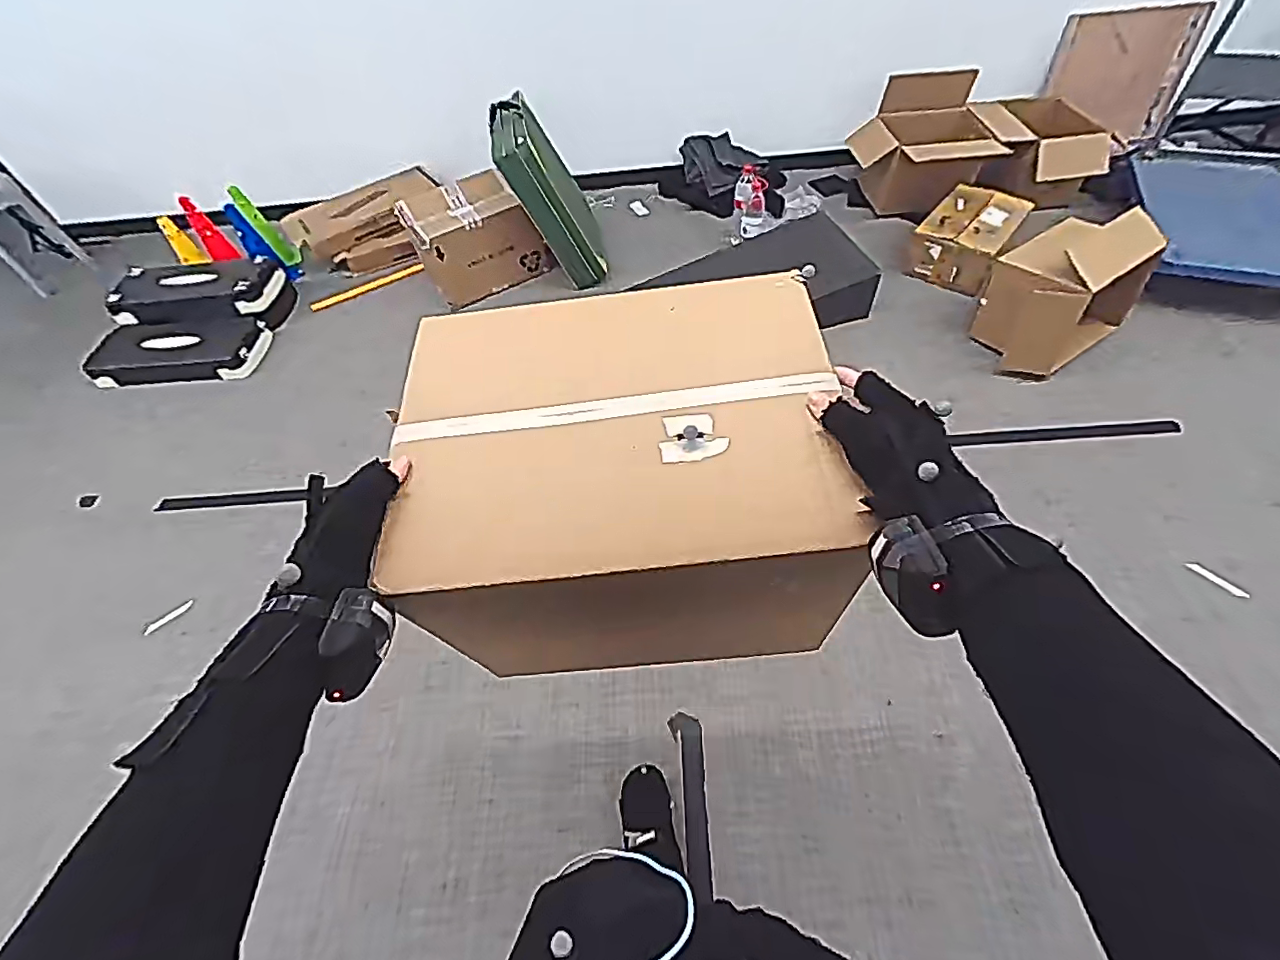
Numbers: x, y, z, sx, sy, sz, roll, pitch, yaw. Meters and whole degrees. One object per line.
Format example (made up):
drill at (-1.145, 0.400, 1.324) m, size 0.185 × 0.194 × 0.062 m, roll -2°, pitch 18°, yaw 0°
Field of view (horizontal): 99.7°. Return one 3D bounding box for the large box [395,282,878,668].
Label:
large box at (-0.005, 0.013, 0.637) m, size 0.408 × 0.320 × 0.320 m, roll -6°, pitch 59°, yaw 2°
